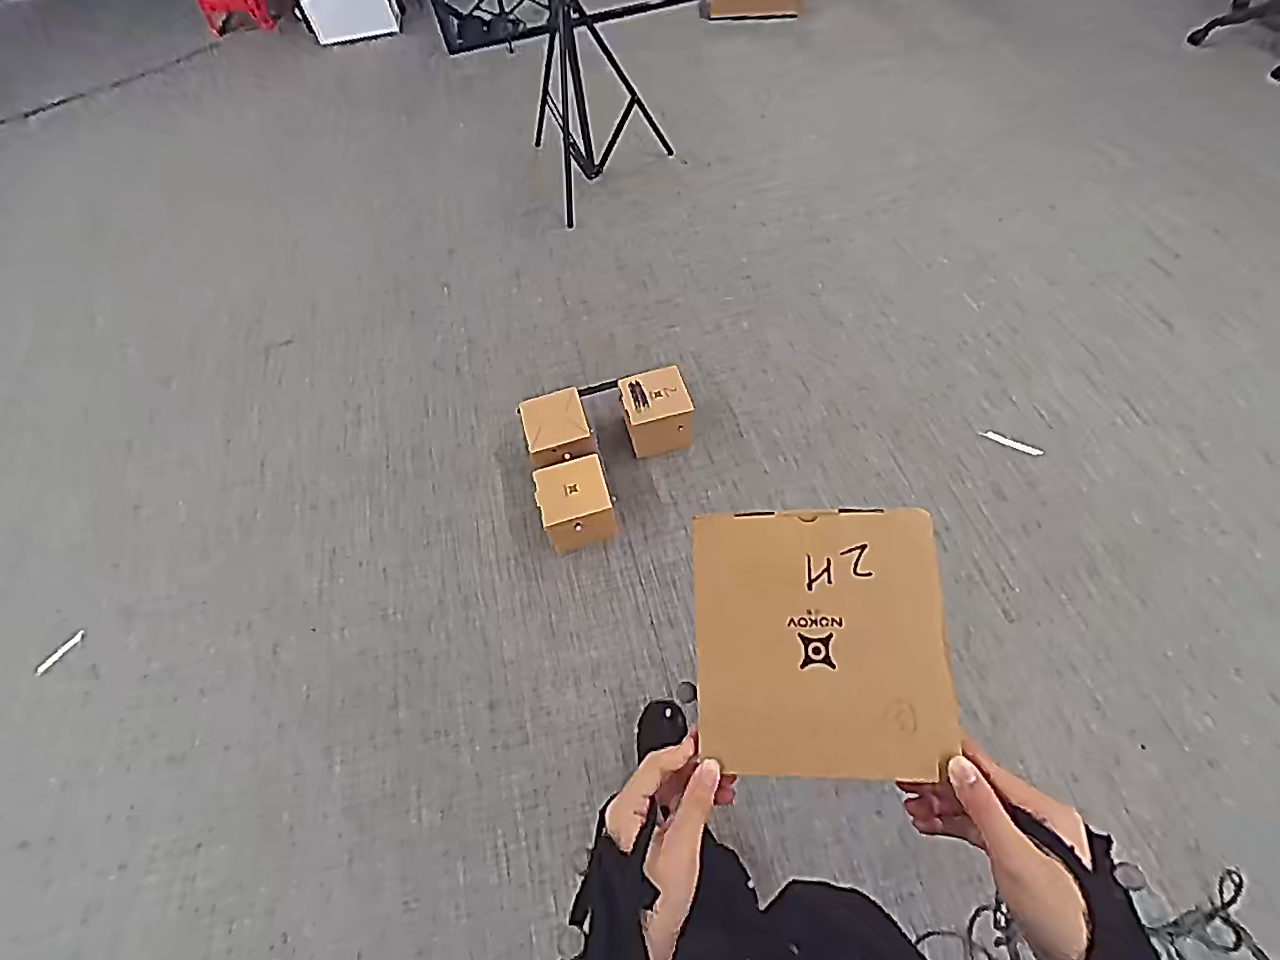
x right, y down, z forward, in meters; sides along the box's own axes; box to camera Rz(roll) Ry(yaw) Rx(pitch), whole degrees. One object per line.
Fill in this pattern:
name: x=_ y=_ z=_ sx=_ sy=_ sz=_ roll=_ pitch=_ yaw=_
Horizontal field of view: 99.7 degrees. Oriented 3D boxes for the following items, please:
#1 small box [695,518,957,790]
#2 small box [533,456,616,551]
small box: x=0.133 y=0.130 z=0.446 sx=0.168 sy=0.176 sz=0.179 roll=-2 pitch=76 yaw=8
small box: x=-0.165 y=0.066 z=1.420 sx=0.179 sy=0.176 sz=0.168 roll=-16 pitch=61 yaw=-3
